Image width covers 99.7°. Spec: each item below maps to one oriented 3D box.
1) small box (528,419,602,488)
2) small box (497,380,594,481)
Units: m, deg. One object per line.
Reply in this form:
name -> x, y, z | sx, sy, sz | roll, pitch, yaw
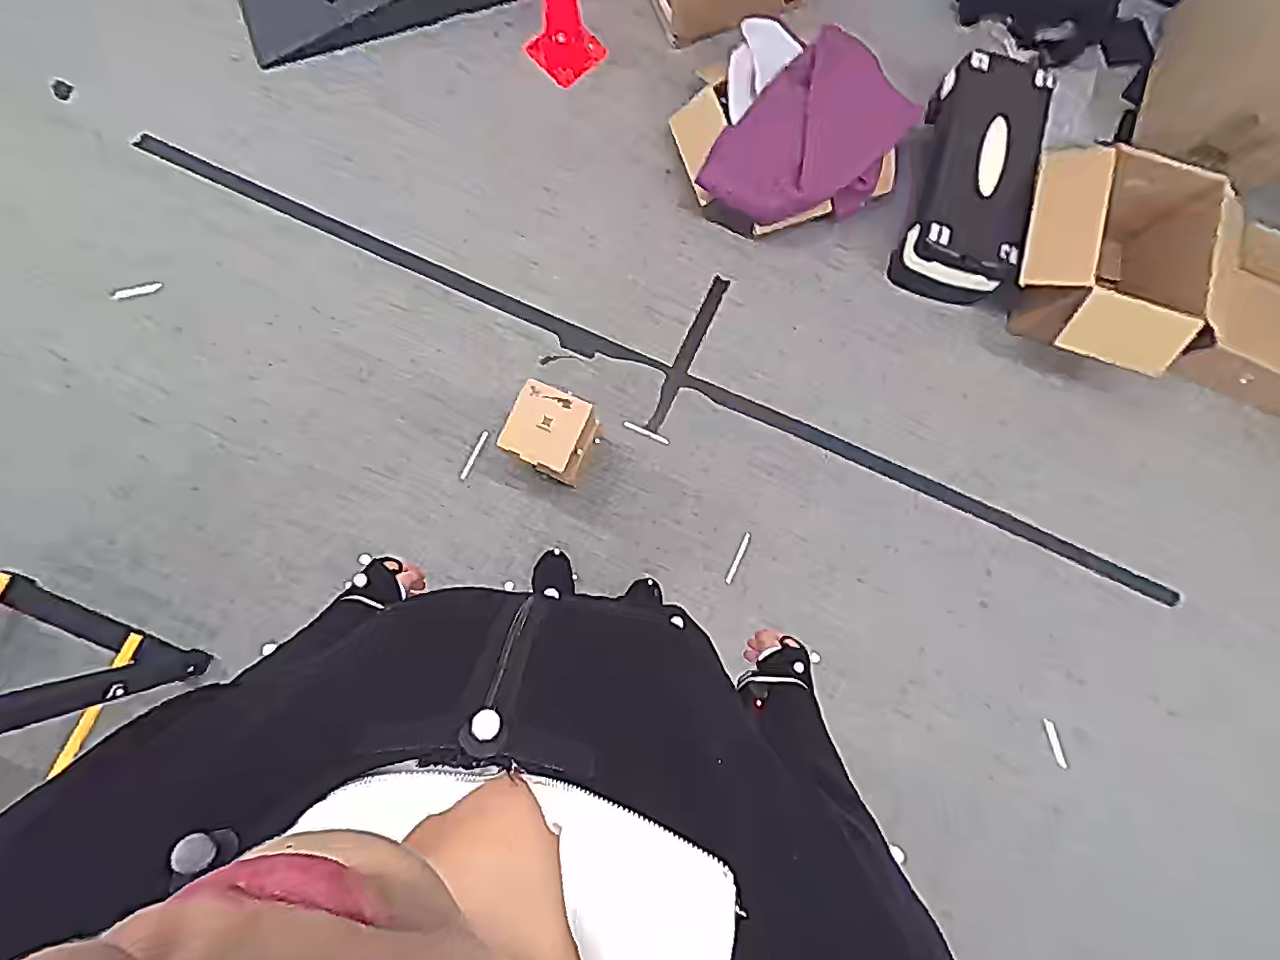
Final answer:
small box -> -0.213, -0.094, 1.465 | 0.168, 0.176, 0.179 | 26, 82, 2
small box -> -0.216, -0.109, 1.301 | 0.168, 0.176, 0.179 | 24, 83, 1
